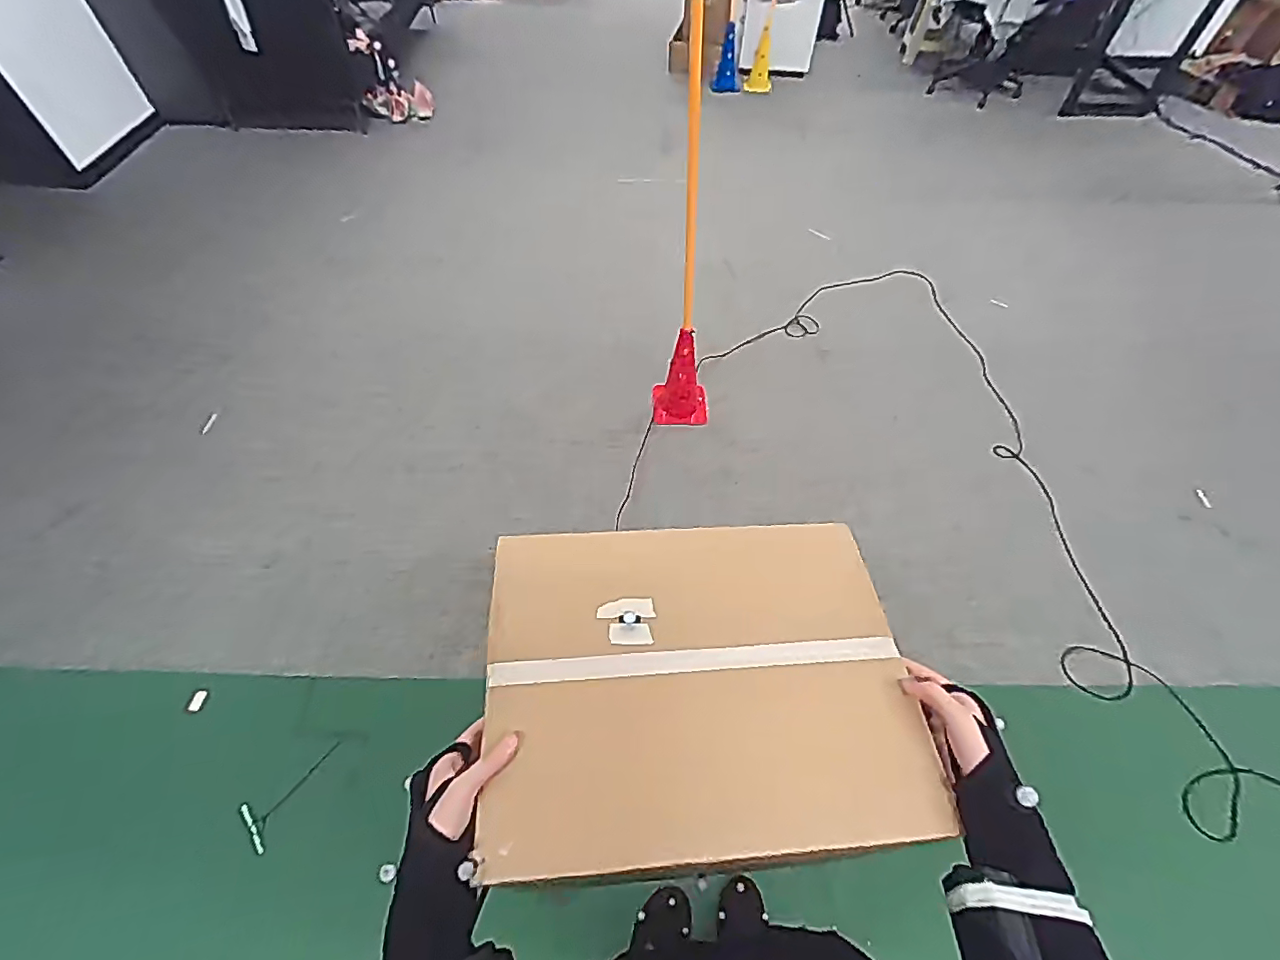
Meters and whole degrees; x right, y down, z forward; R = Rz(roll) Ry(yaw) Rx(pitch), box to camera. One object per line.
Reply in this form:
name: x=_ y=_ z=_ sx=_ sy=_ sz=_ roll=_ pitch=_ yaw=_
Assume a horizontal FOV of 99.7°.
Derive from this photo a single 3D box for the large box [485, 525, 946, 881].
large box: x=0.052 y=0.275 z=0.657 sx=0.408 sy=0.320 sz=0.320 roll=-2 pitch=52 yaw=-5
